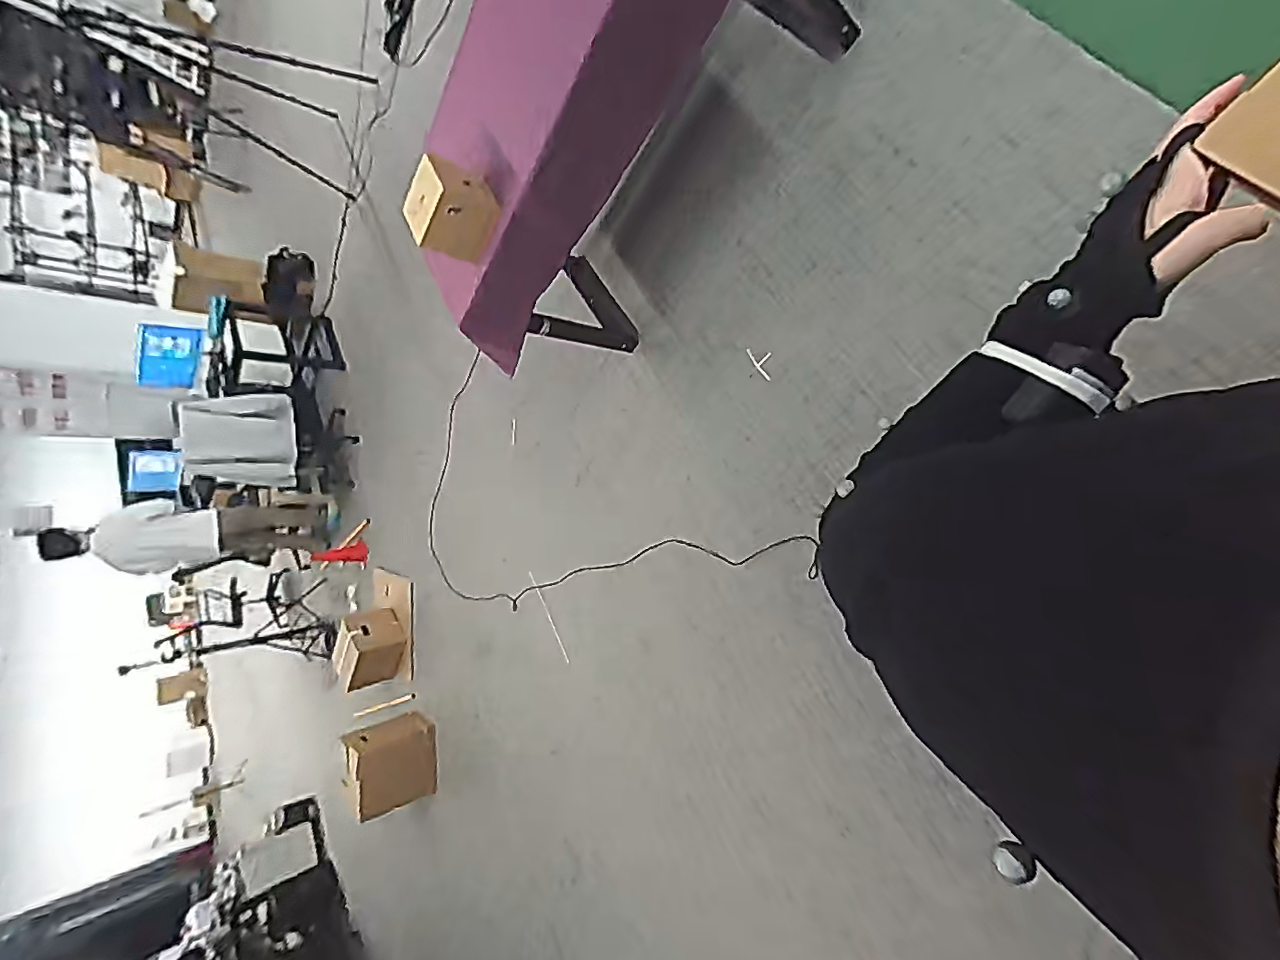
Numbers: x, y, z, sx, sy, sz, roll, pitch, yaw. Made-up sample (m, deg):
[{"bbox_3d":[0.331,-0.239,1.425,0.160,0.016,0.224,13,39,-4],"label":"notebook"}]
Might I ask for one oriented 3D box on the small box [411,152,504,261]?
[{"bbox_3d":[-0.489,-0.733,1.464,0.179,0.176,0.168,-46,60,34],"label":"small box"}]
